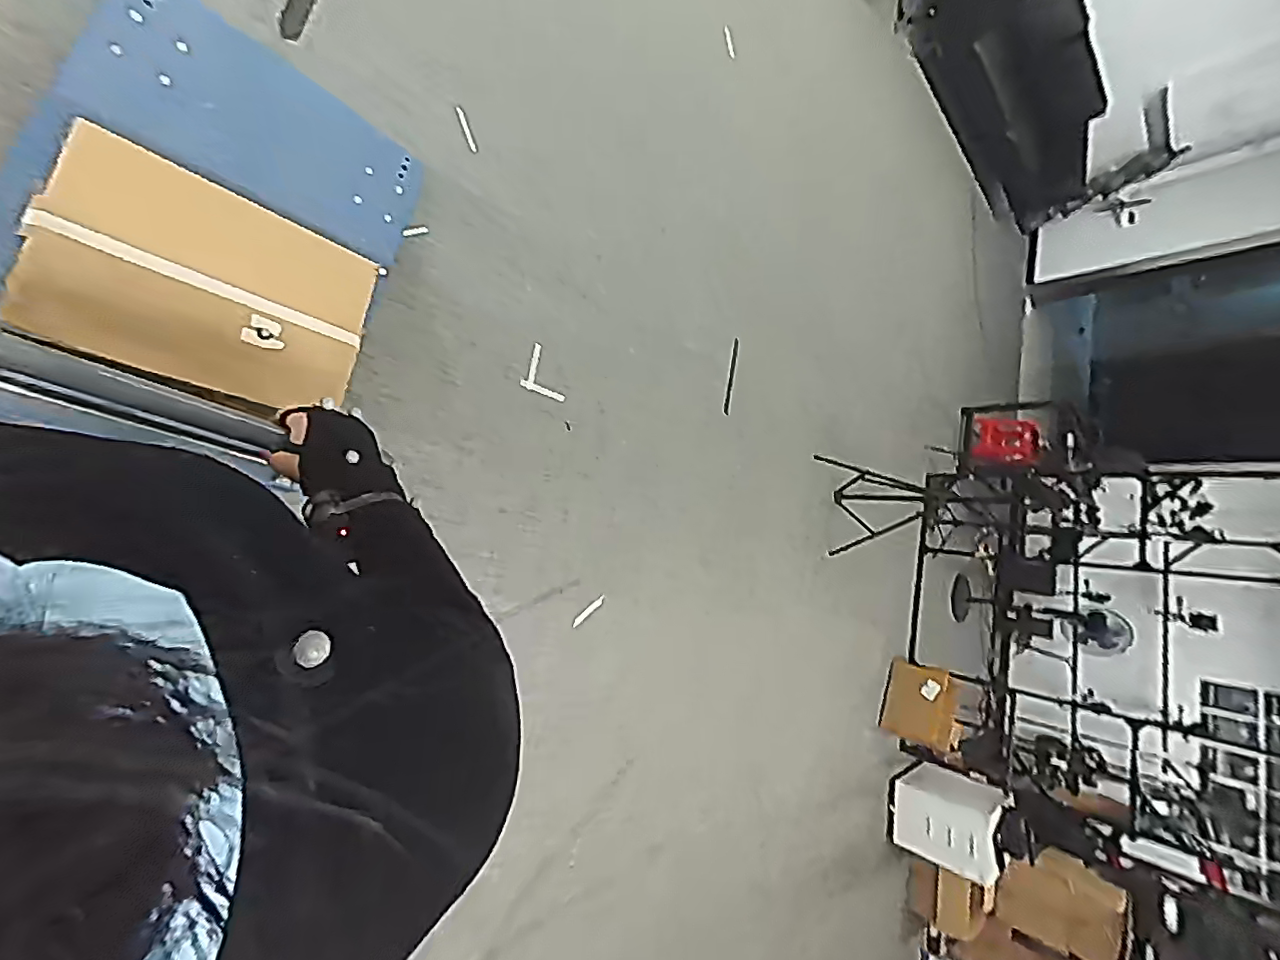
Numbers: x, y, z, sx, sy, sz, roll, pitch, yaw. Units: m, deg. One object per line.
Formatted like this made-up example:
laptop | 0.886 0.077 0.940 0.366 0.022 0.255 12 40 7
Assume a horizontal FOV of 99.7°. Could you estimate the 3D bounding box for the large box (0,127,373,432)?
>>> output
large box | -0.765 -0.295 0.953 0.408 0.320 0.320 19 77 -43
